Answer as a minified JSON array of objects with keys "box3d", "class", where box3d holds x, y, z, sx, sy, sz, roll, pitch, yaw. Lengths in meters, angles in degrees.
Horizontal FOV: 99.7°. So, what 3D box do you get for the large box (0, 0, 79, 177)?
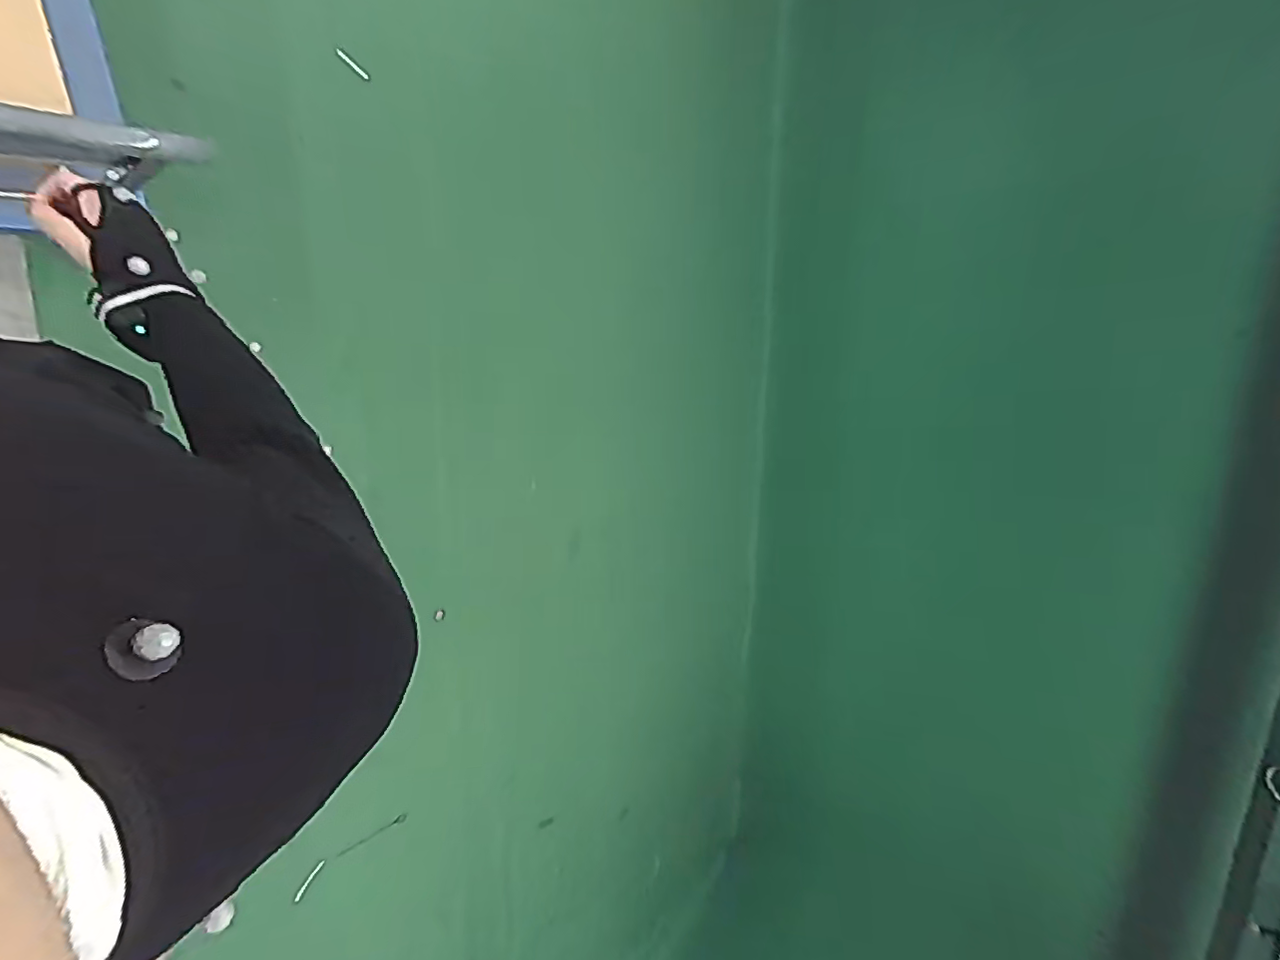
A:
[{"box3d":[-1.053,-0.681,0.730,0.320,0.320,0.408,-21,112,-47],"class":"large box"}]
